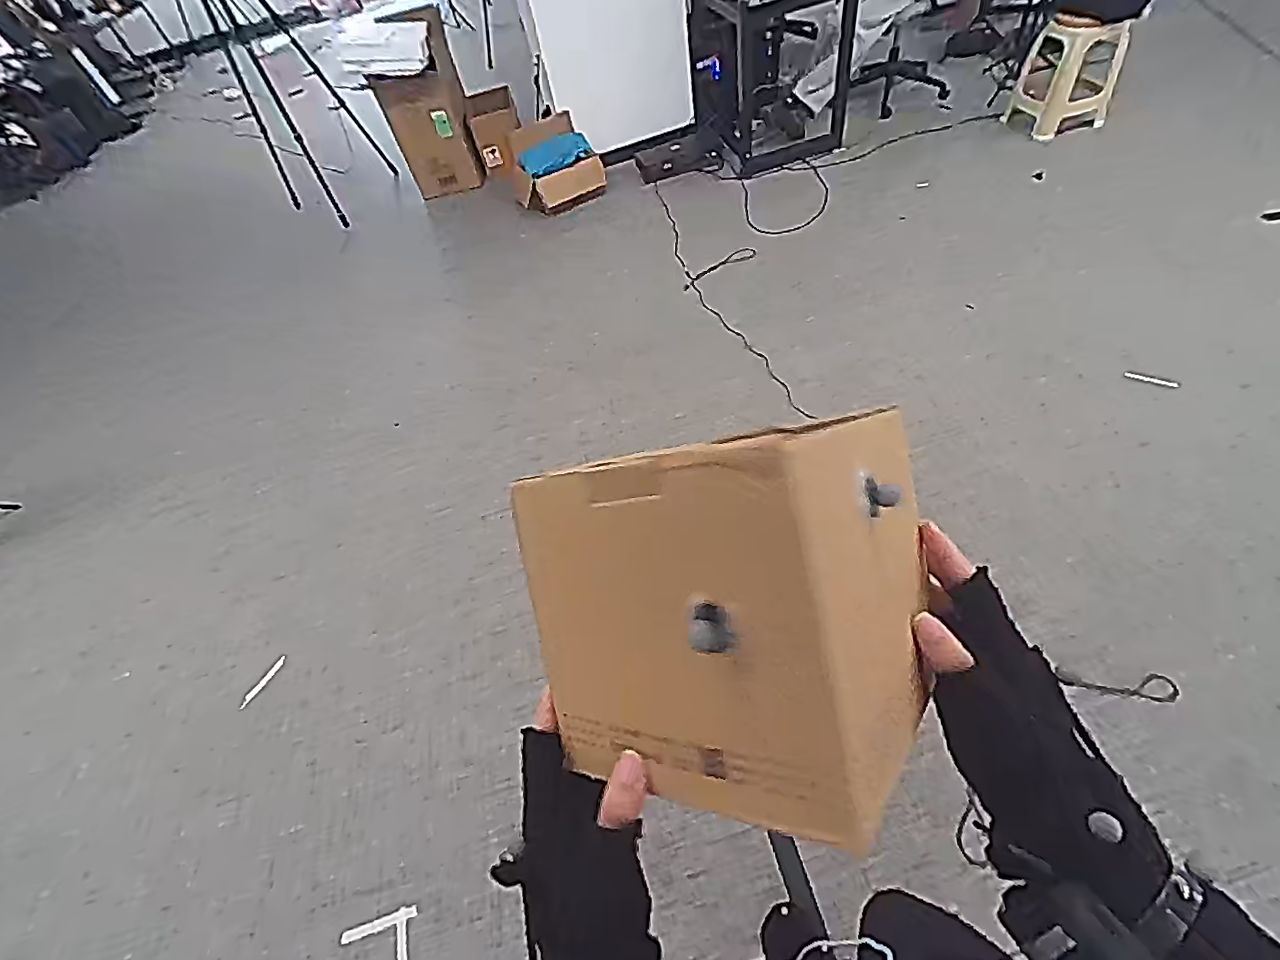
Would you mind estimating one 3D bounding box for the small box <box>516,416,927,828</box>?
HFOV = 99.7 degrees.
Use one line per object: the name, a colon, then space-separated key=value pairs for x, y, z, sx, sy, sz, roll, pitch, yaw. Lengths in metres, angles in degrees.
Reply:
small box: x=0.056 y=0.068 z=0.332 sx=0.168 sy=0.176 sz=0.179 roll=-11 pitch=2 yaw=43
